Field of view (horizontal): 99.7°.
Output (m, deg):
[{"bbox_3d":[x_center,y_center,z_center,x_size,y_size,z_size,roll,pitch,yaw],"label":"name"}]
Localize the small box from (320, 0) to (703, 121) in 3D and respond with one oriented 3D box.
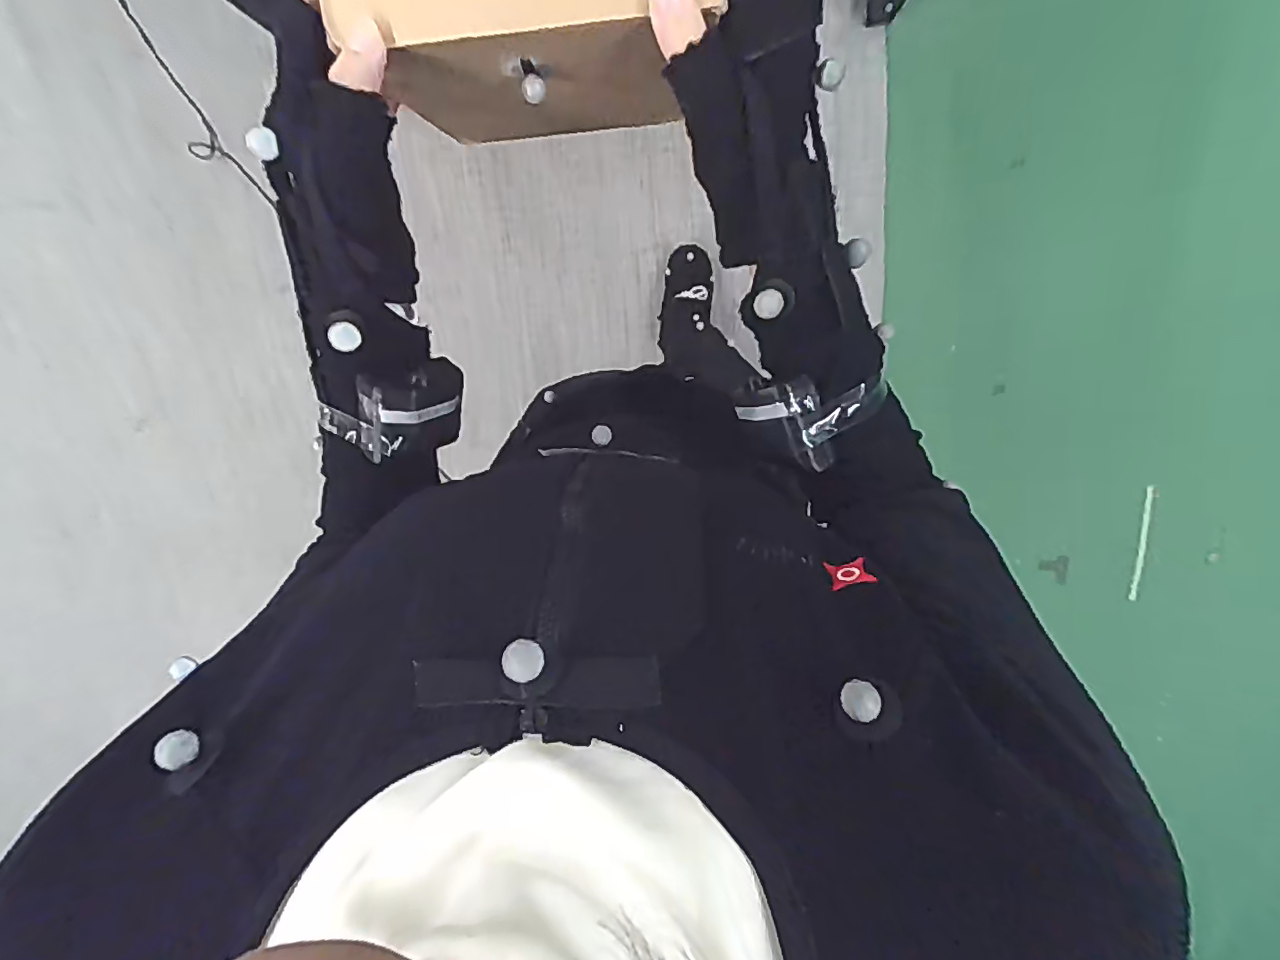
[{"bbox_3d":[-0.056,-0.310,0.284,0.179,0.176,0.168,-3,109,4],"label":"small box"}]
